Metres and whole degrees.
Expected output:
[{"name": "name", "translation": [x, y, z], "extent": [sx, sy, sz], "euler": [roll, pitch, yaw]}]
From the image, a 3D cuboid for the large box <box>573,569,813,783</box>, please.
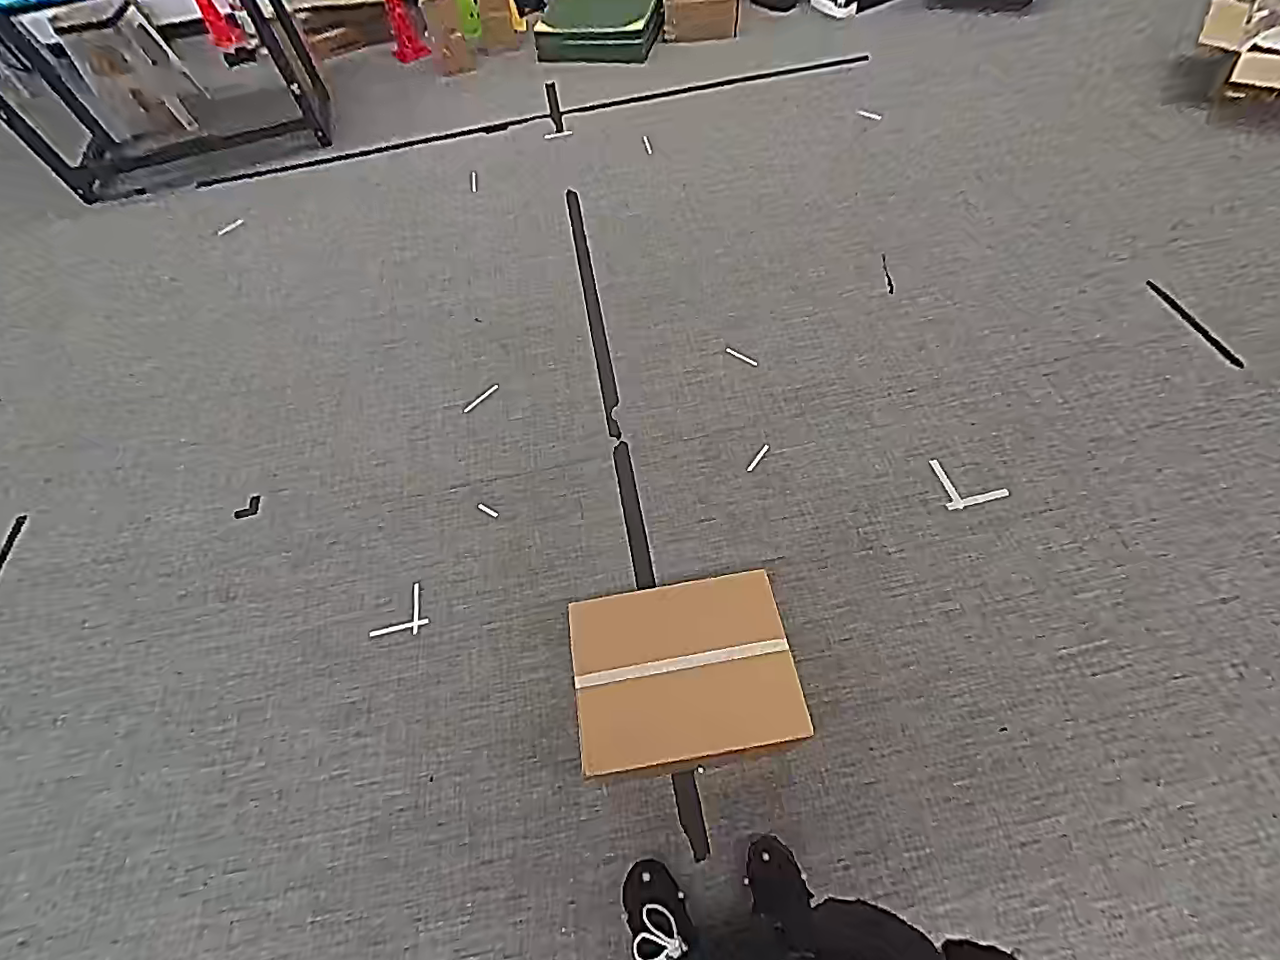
[{"name": "large box", "translation": [0.095, 0.422, 1.139], "extent": [0.408, 0.320, 0.320], "euler": [-10, 59, -1]}]
